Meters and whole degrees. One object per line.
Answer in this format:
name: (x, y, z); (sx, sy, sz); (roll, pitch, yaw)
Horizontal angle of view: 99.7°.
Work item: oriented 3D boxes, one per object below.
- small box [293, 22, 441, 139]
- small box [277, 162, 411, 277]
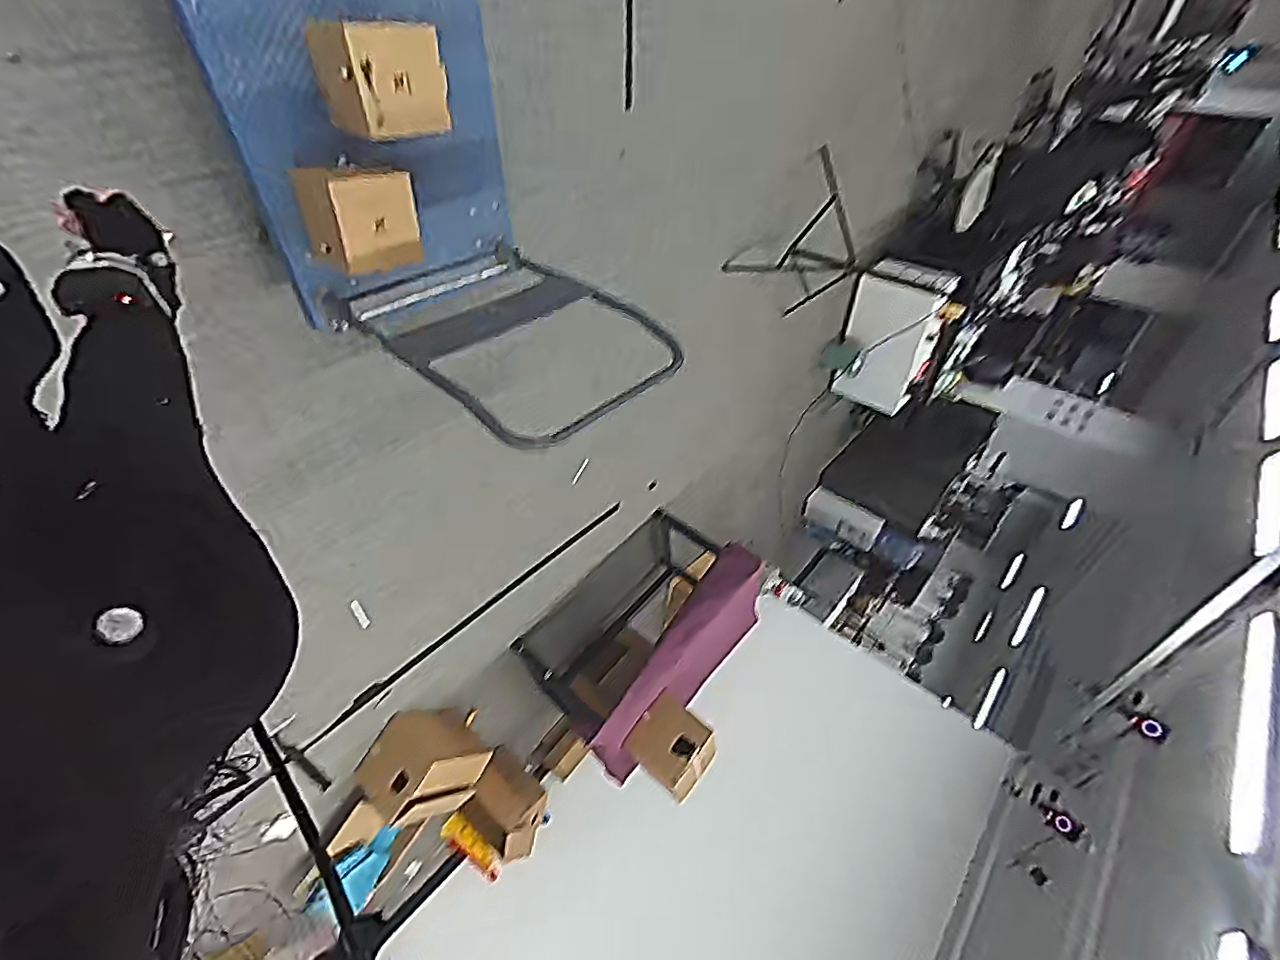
small box: (-0.520, -0.771, 1.043); (0.179, 0.176, 0.168); (-36, 143, -37)
small box: (-0.609, -0.544, 1.122); (0.168, 0.176, 0.179); (-34, 142, -40)
